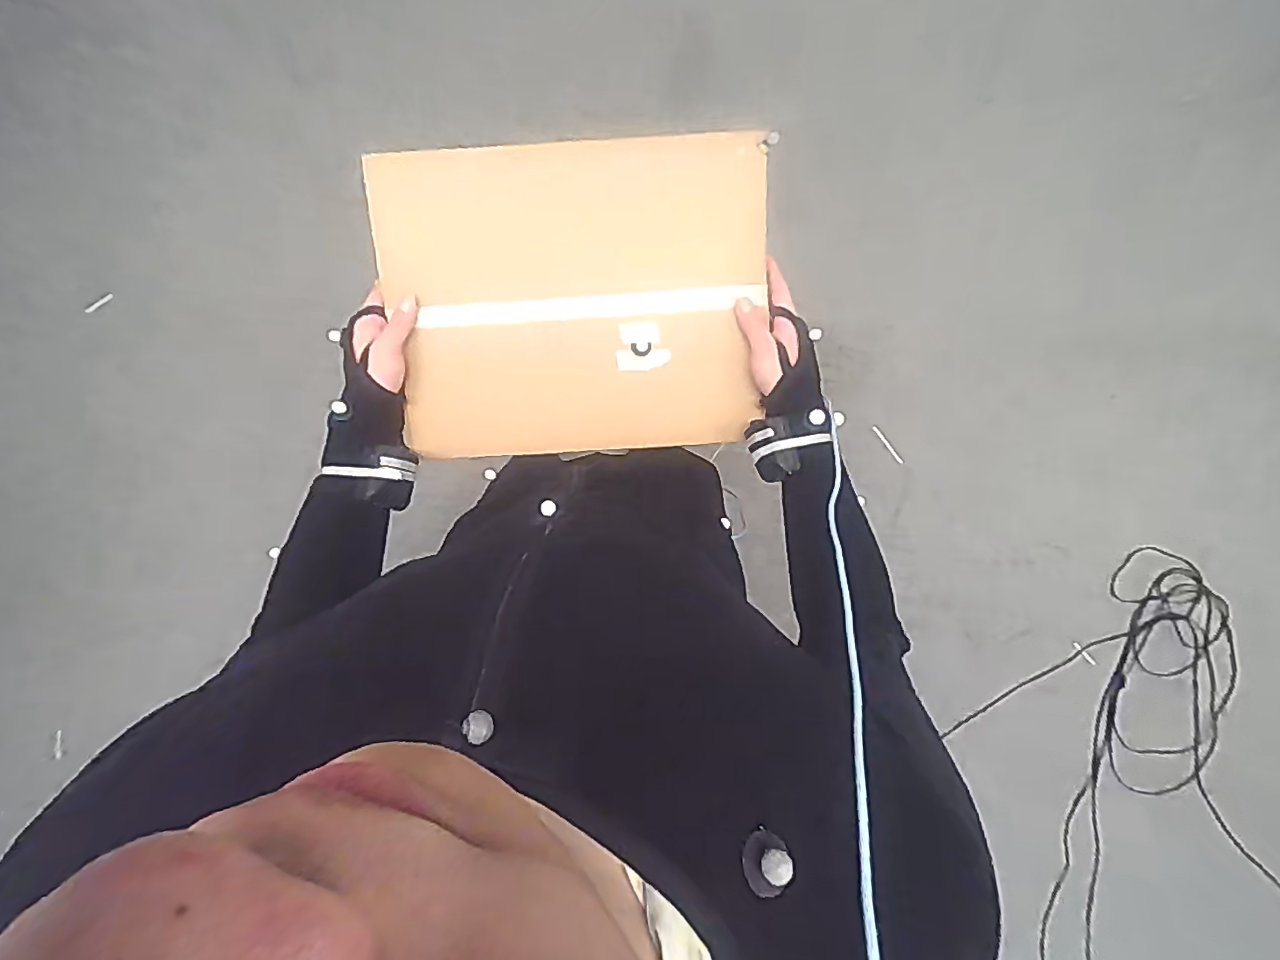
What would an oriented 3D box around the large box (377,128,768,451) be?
[{"bbox_3d":[-0.066,-0.230,0.729,0.408,0.320,0.320,-4,105,-1],"label":"large box"}]
